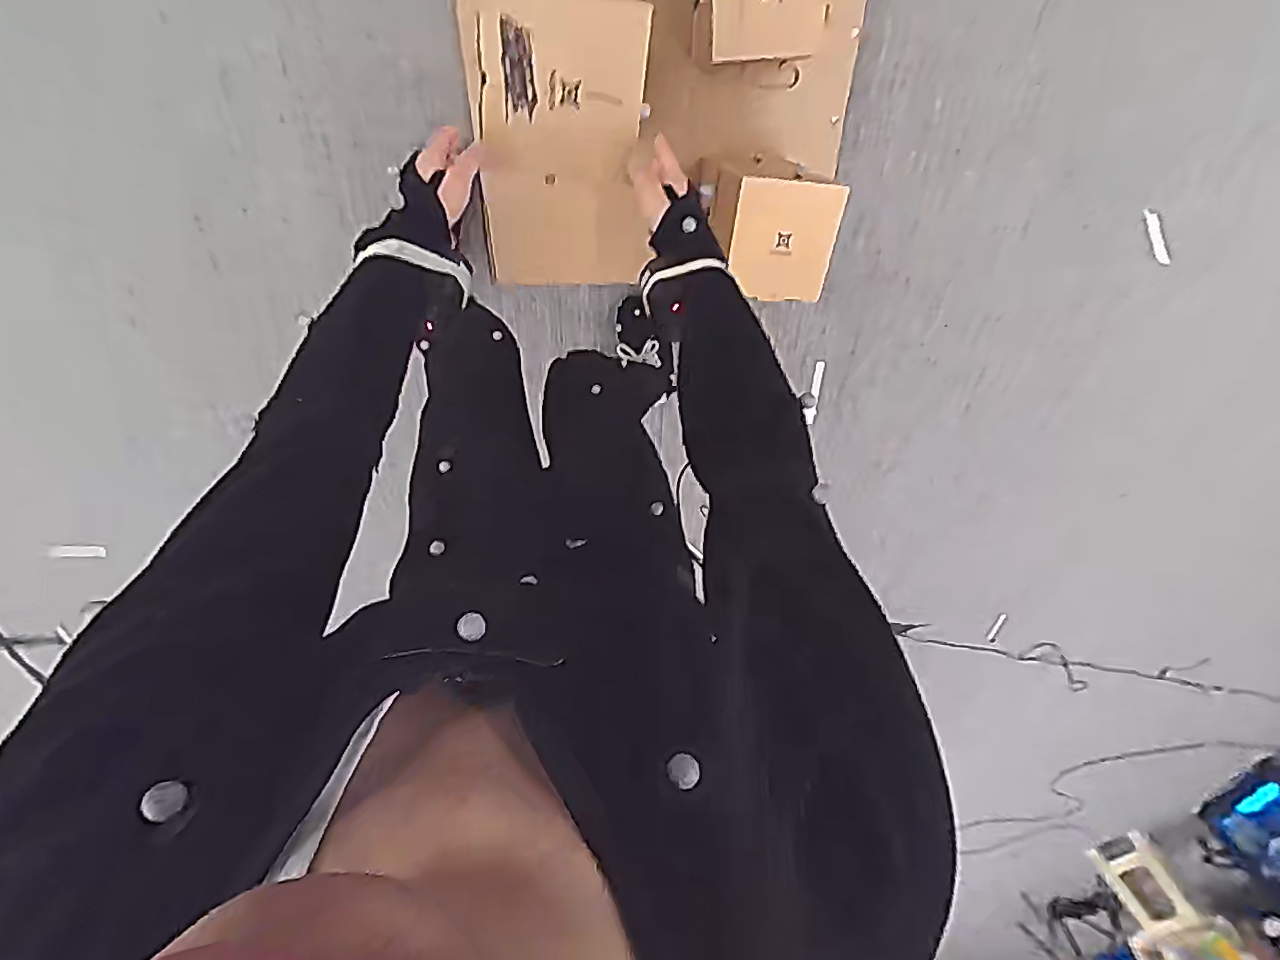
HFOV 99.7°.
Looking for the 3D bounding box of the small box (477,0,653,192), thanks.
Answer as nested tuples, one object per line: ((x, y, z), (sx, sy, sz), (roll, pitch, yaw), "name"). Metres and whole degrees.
((-0.087, -0.455, 0.643), (0.179, 0.176, 0.168), (4, 125, -7), "small box")

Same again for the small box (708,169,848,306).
((0.215, -0.408, 0.903), (0.168, 0.176, 0.179), (2, 126, -6), "small box")

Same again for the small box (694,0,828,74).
((0.186, -0.755, 0.857), (0.179, 0.176, 0.168), (-6, 124, -1), "small box")
